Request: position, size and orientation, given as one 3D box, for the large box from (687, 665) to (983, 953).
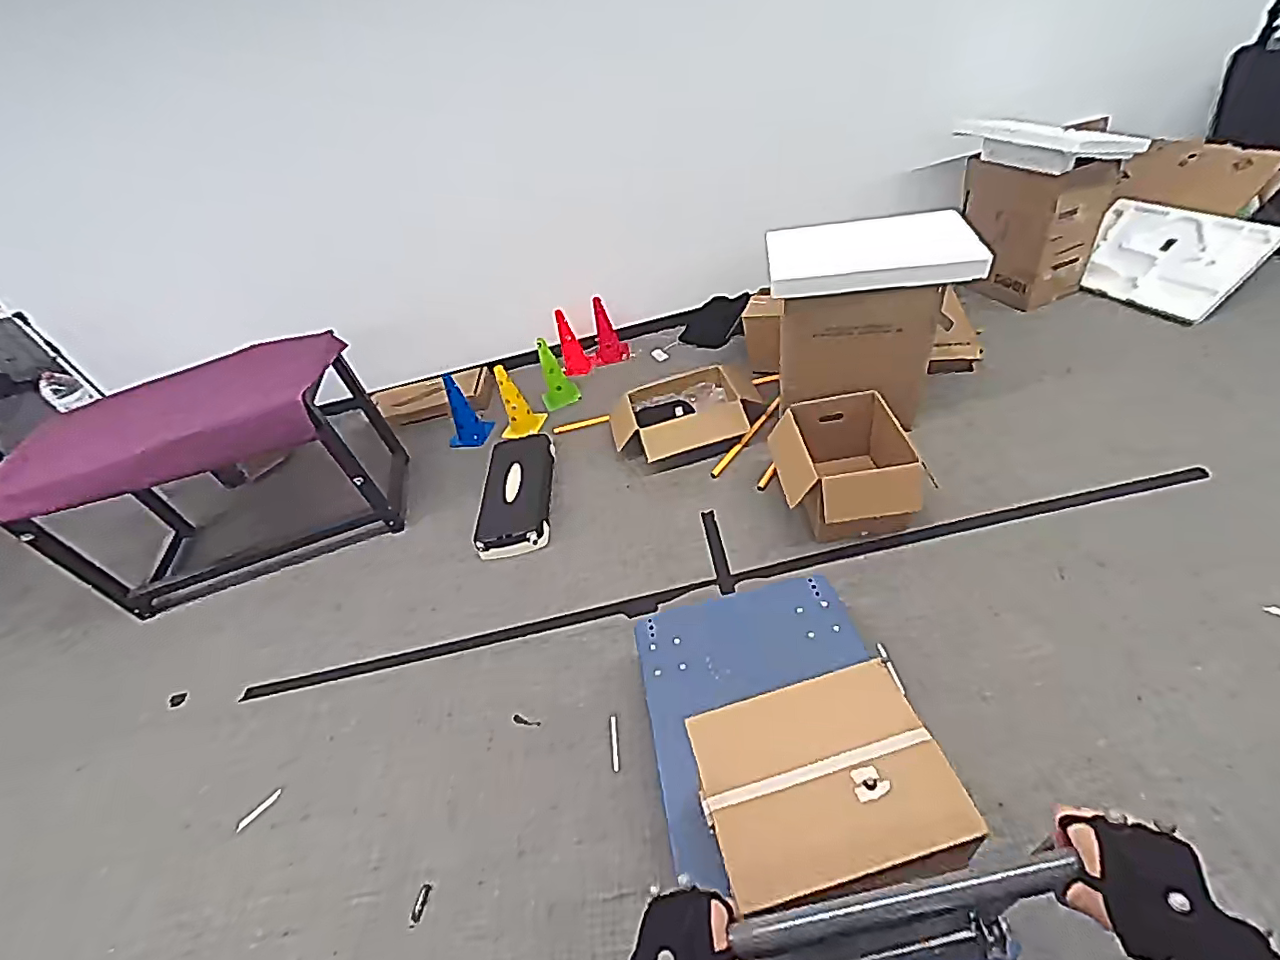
[{"bbox_3d":[0.338,0.622,1.033,0.408,0.320,0.320,-16,41,-3],"label":"large box"}]
